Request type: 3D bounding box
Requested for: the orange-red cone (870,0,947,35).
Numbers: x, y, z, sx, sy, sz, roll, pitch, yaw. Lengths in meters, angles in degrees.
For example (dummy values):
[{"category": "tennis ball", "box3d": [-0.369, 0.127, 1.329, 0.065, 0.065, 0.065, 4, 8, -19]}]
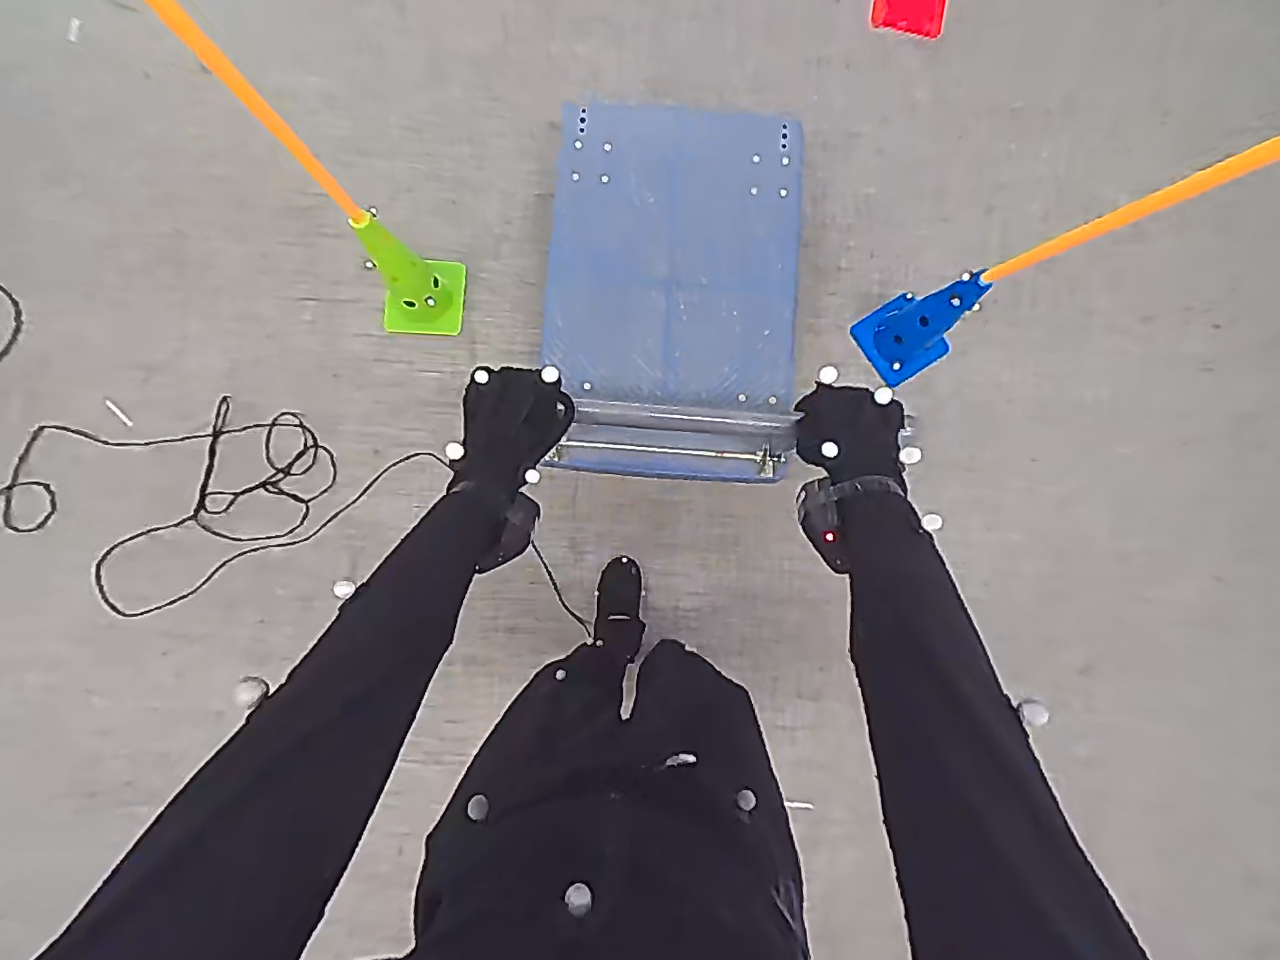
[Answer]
[{"category": "orange-red cone", "box3d": [0.751, -1.357, 1.333, 0.198, 0.360, 0.199, 15, 85, 2]}]
